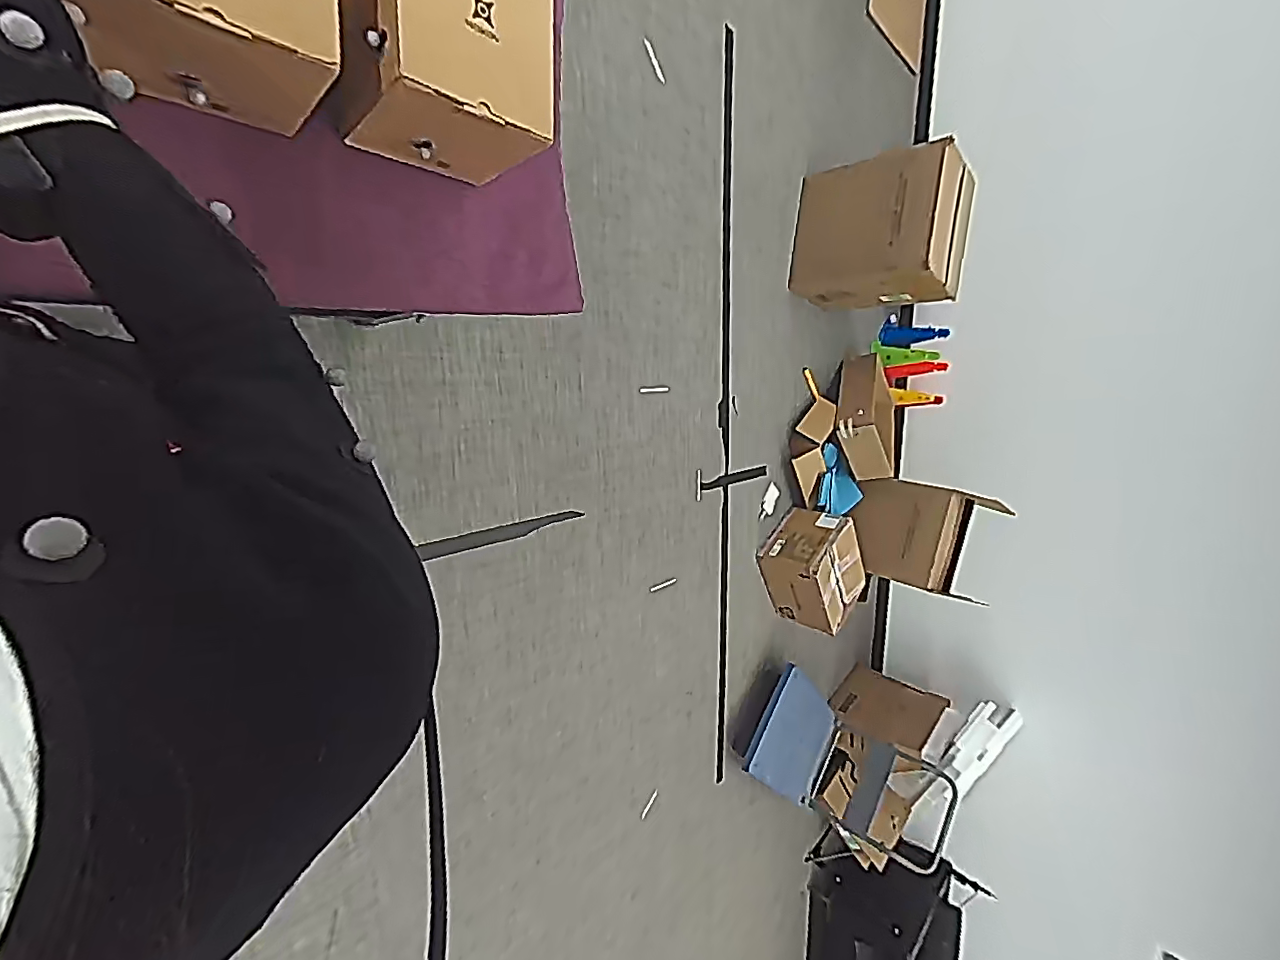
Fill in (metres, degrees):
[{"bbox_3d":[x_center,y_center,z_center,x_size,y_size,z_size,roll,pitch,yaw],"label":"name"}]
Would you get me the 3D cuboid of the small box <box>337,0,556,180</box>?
[{"bbox_3d":[-0.204,-0.450,0.570,0.168,0.176,0.179,-7,102,-44],"label":"small box"}]
